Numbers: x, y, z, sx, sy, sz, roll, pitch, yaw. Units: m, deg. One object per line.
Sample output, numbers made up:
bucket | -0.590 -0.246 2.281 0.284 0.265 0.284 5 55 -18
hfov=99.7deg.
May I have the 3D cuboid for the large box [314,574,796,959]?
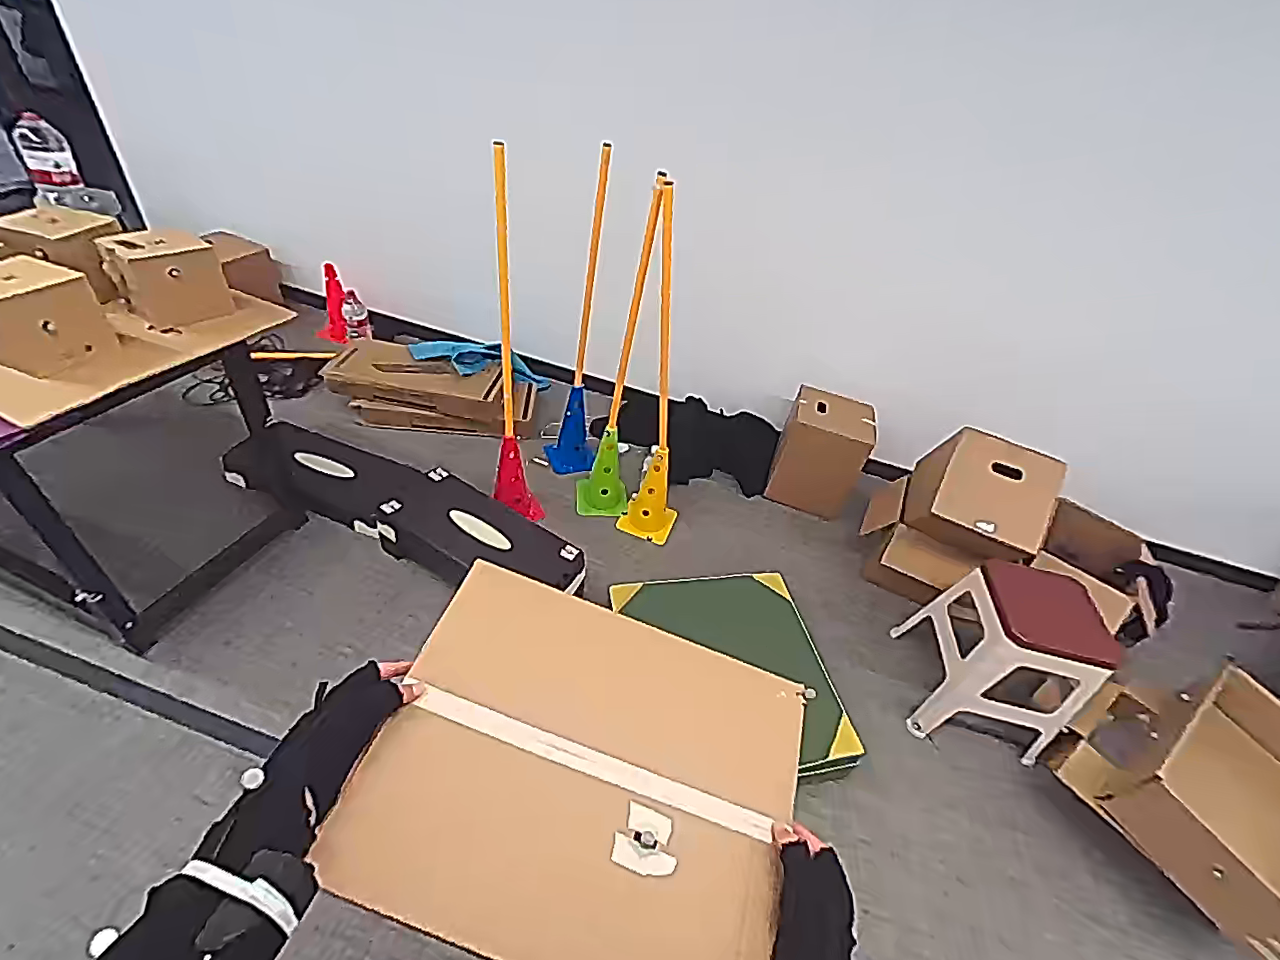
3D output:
large box | -0.078 0.375 0.649 0.408 0.320 0.320 22 50 1
